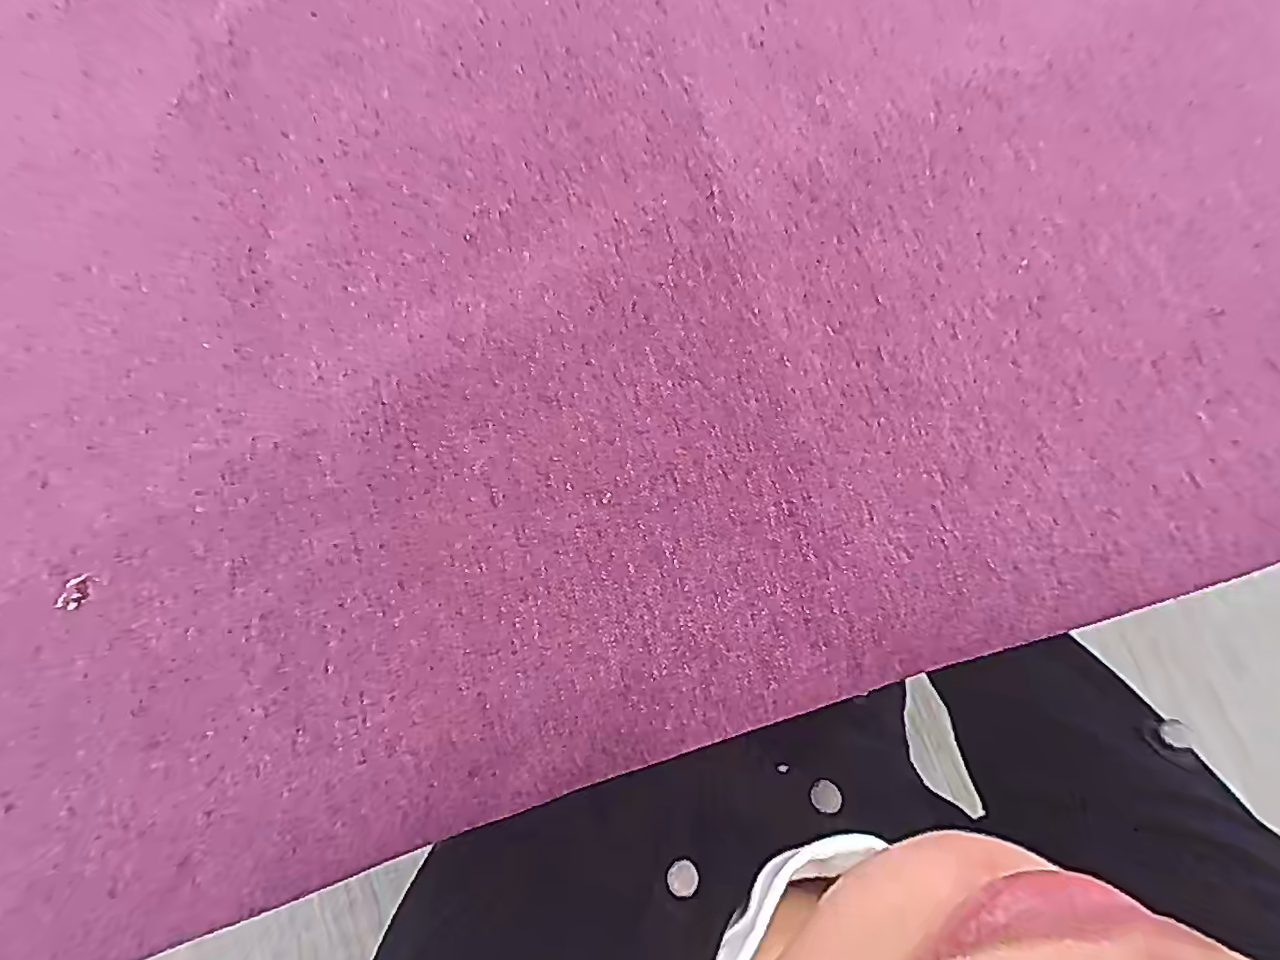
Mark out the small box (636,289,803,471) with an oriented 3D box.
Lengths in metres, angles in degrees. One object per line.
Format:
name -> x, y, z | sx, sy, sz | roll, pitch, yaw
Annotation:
small box -> 0.098, -0.124, 0.740 | 0.168, 0.176, 0.179 | -18, 84, 1

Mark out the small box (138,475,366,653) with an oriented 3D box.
small box -> -0.506, 0.109, 0.730 | 0.168, 0.176, 0.179 | -20, 84, -2
